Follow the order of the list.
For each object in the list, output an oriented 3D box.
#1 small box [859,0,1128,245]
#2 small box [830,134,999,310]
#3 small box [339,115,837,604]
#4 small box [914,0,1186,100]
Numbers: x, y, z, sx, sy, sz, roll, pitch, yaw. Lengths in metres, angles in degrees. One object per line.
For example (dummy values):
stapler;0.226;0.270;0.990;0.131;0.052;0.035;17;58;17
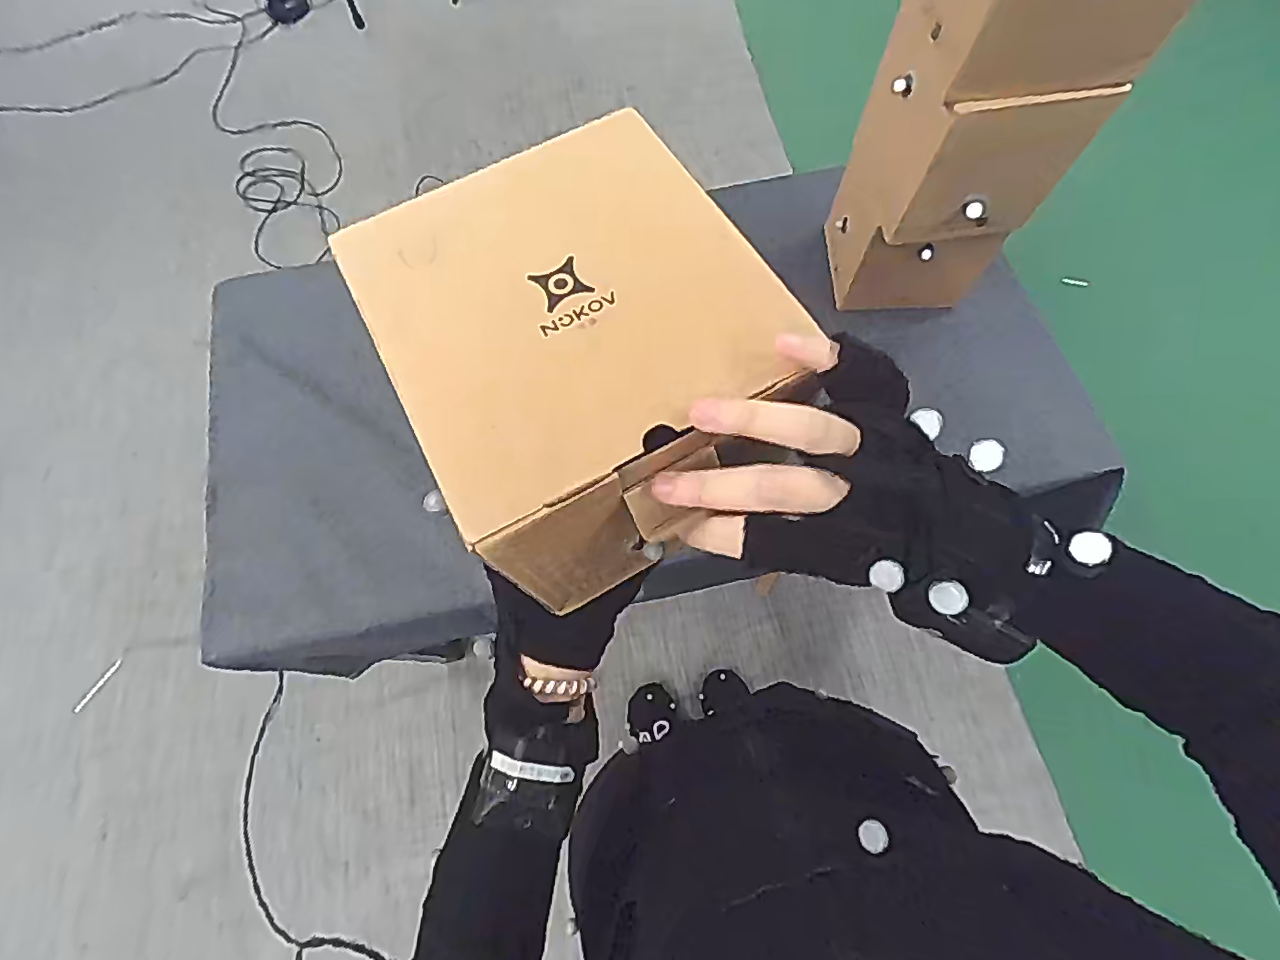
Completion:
small box;0.364;-0.396;0.602;0.168;0.176;0.179;-7;70;1
small box;0.377;-0.357;0.761;0.179;0.176;0.168;0;70;2
small box;-0.027;-0.052;0.309;0.168;0.176;0.179;-28;70;-8
small box;0.353;-0.453;0.450;0.179;0.176;0.168;-4;70;1
